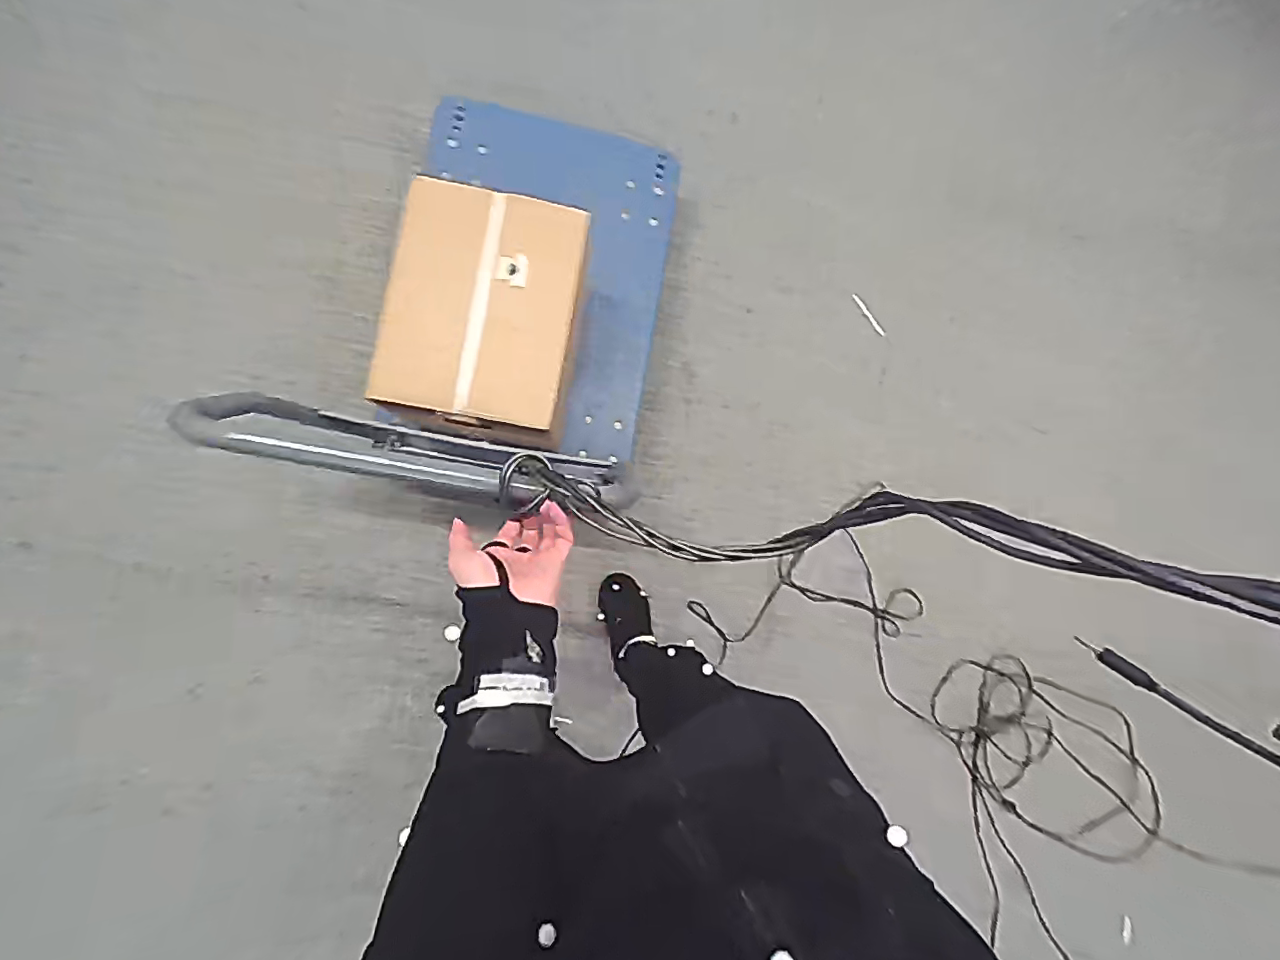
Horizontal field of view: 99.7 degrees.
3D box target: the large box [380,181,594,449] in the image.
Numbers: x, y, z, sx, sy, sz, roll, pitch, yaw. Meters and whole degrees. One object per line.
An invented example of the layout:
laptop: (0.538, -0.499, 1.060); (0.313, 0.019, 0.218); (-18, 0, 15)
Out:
large box: (-0.277, -0.298, 1.096); (0.320, 0.320, 0.408); (11, 84, -5)
